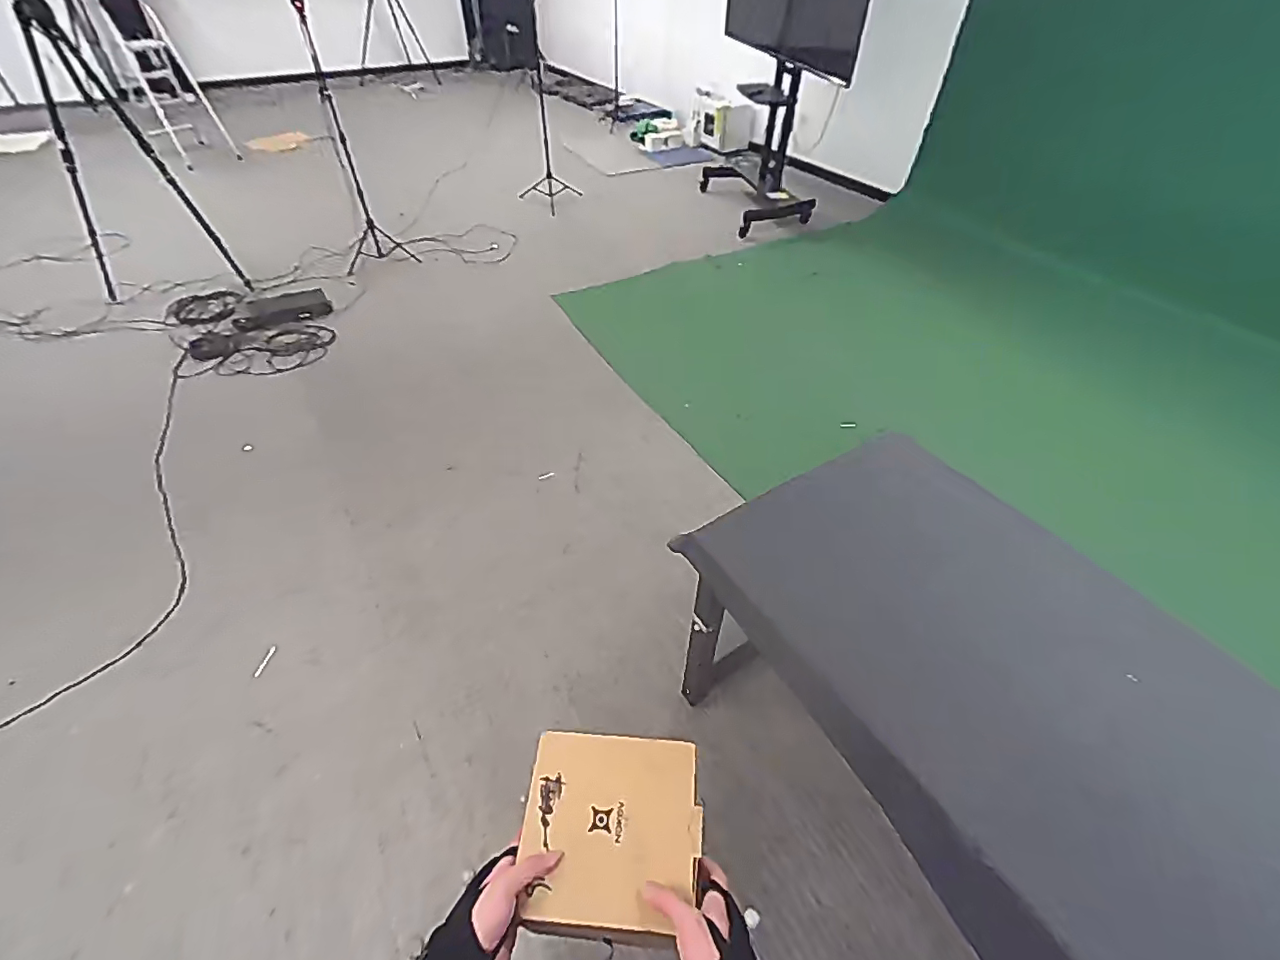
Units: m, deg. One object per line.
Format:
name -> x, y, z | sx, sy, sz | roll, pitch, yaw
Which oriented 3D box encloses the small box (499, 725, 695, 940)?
small box -> -0.034, 0.391, 0.597 | 0.179, 0.176, 0.168 | 3, 47, 4
